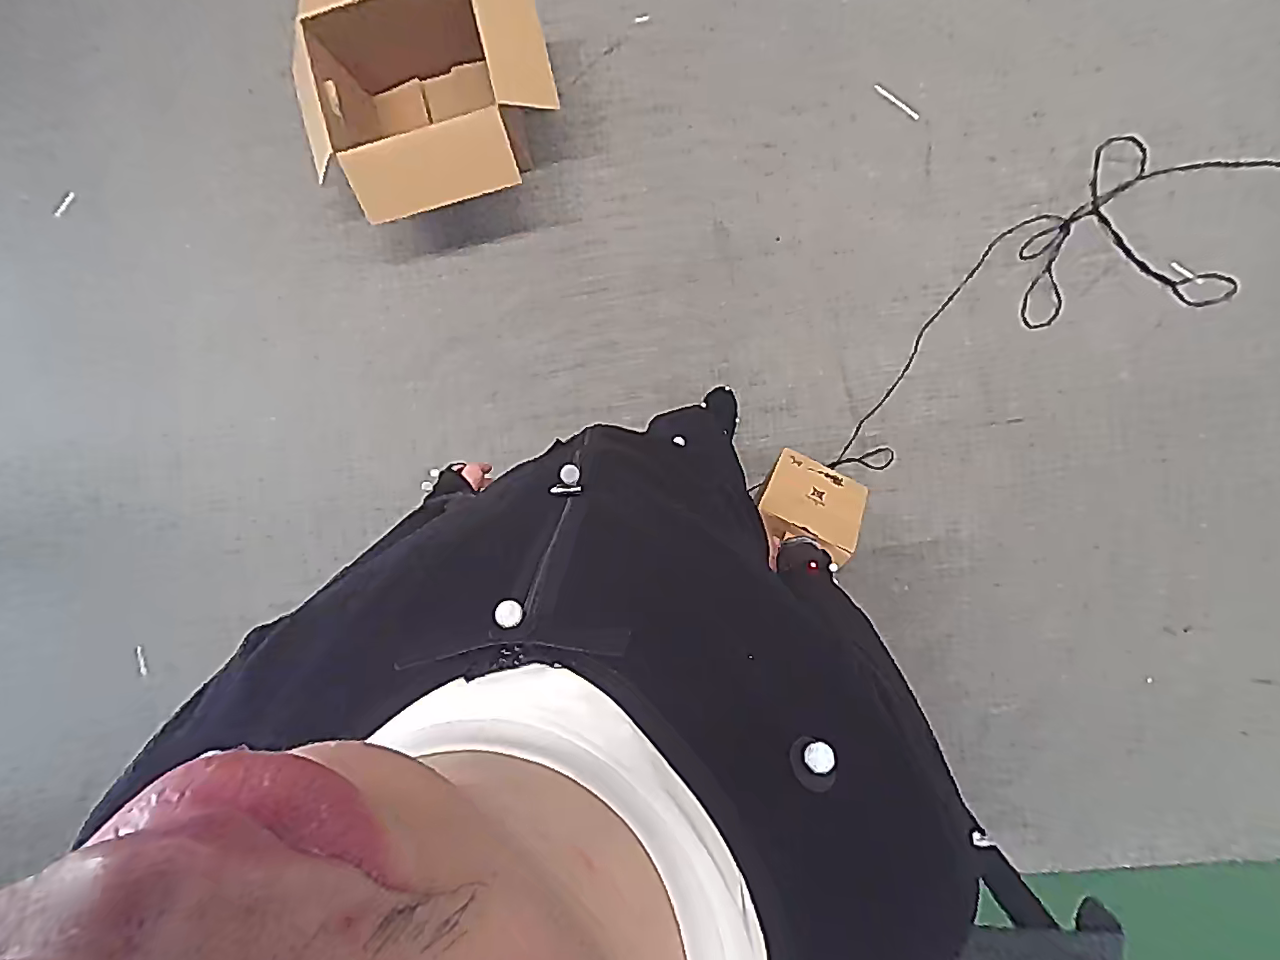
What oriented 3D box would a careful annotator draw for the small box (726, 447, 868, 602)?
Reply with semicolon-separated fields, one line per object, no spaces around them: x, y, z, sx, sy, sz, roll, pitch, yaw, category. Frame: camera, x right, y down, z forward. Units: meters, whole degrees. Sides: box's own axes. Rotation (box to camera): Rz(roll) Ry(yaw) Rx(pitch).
0.271;0.082;0.956;0.168;0.179;0.176;30;137;7;small box
